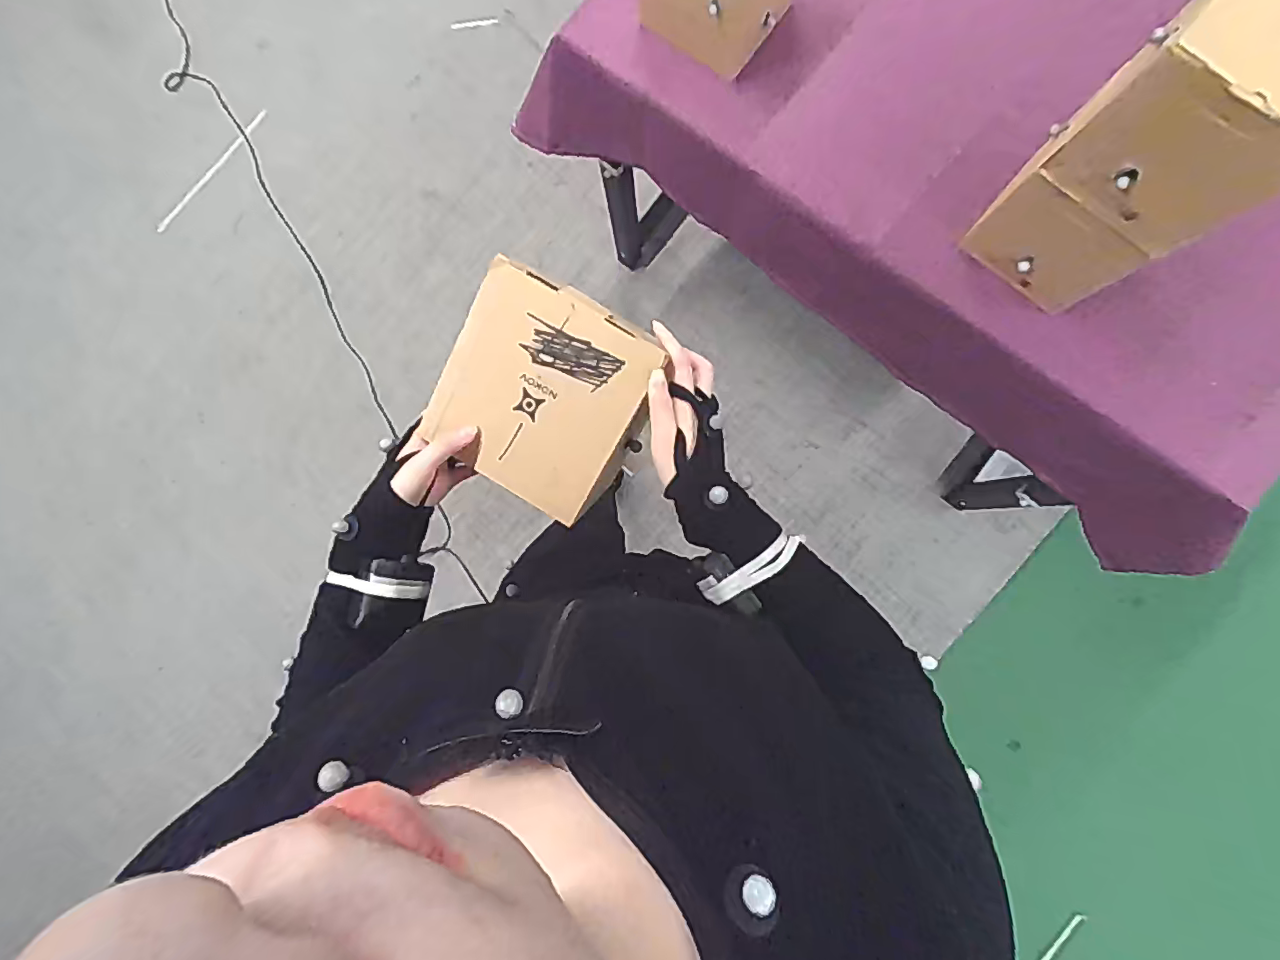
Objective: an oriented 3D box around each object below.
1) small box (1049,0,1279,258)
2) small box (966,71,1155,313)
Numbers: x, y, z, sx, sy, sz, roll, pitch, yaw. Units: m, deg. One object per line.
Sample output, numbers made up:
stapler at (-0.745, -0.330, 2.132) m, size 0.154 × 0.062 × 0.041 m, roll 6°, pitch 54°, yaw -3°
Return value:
small box at (0.565, -0.363, 0.530) m, size 0.168 × 0.176 × 0.179 m, roll 41°, pitch 89°, yaw 5°
small box at (0.569, -0.353, 0.692) m, size 0.168 × 0.176 × 0.179 m, roll 41°, pitch 89°, yaw 5°
